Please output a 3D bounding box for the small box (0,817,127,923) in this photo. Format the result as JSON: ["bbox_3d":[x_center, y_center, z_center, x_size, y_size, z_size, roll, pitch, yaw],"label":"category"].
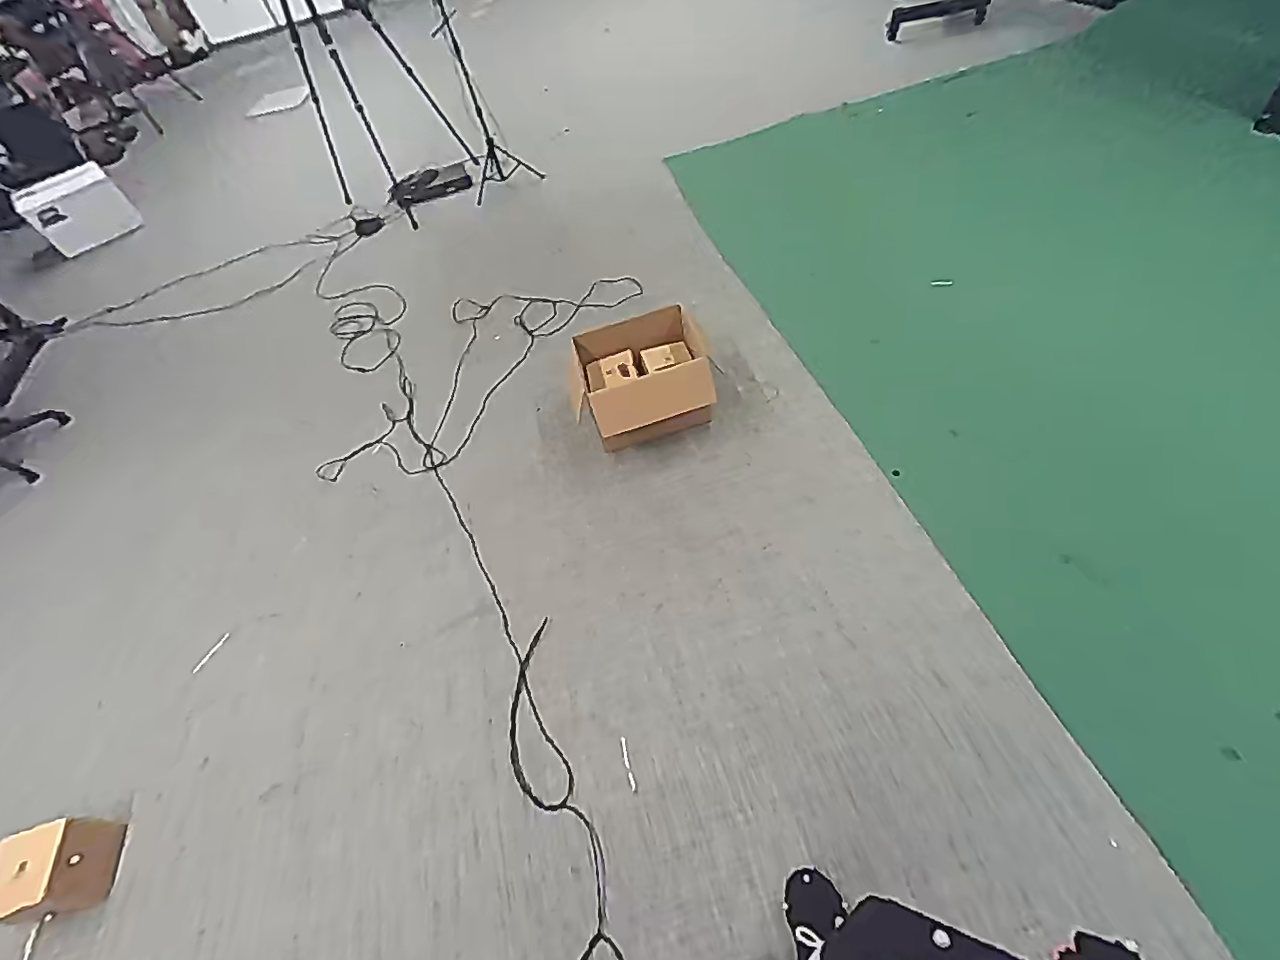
[{"bbox_3d":[-1.431,0.960,1.330,0.168,0.176,0.179,-19,54,-3],"label":"small box"}]
